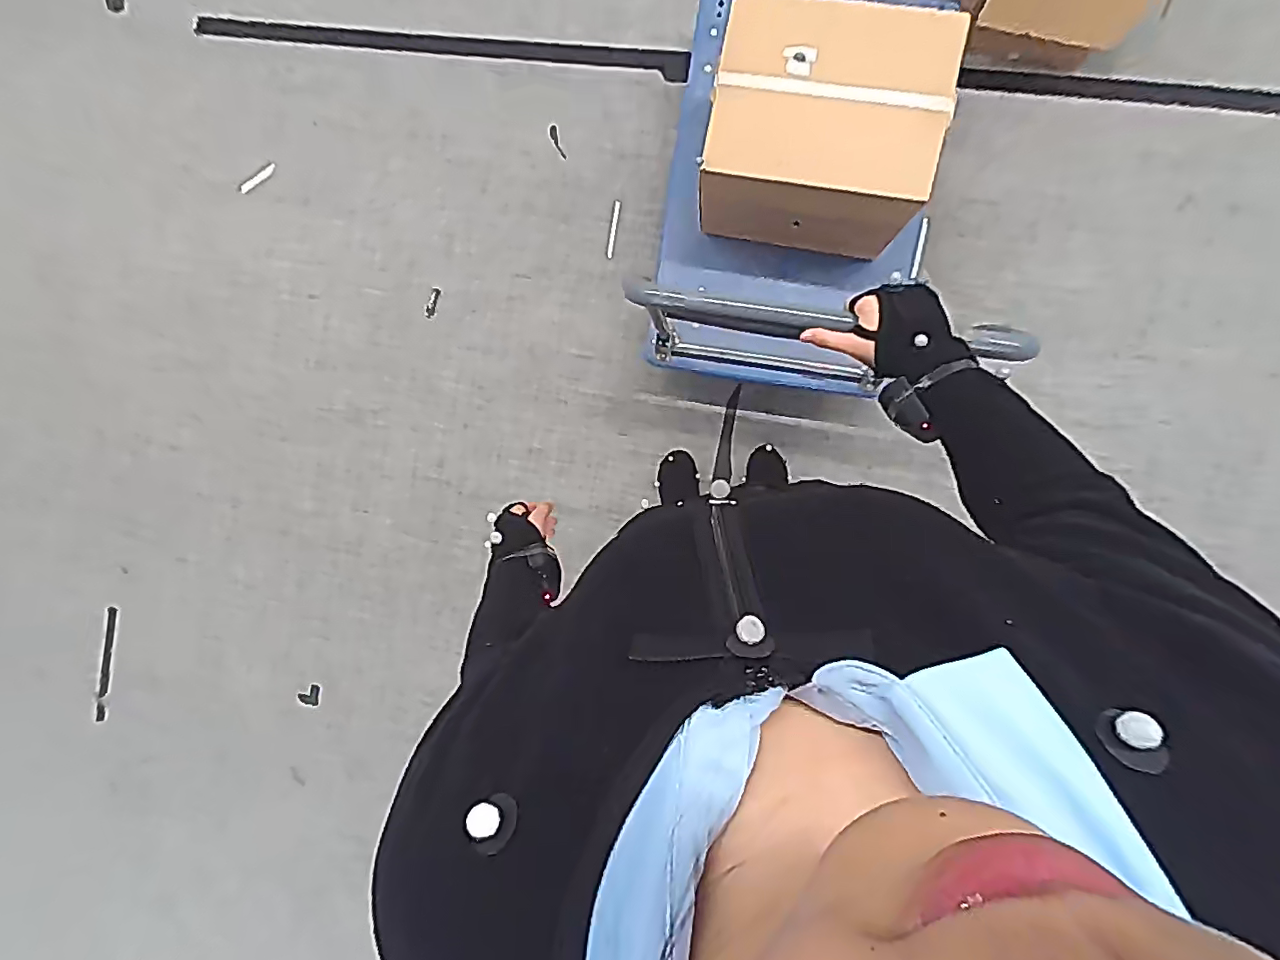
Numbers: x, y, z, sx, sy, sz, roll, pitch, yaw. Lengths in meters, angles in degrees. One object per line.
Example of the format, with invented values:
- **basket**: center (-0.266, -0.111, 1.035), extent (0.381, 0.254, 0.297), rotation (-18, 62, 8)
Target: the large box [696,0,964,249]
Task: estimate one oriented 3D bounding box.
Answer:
- **large box**: center (0.341, -0.687, 1.077), extent (0.408, 0.320, 0.320), rotation (11, 95, 7)
